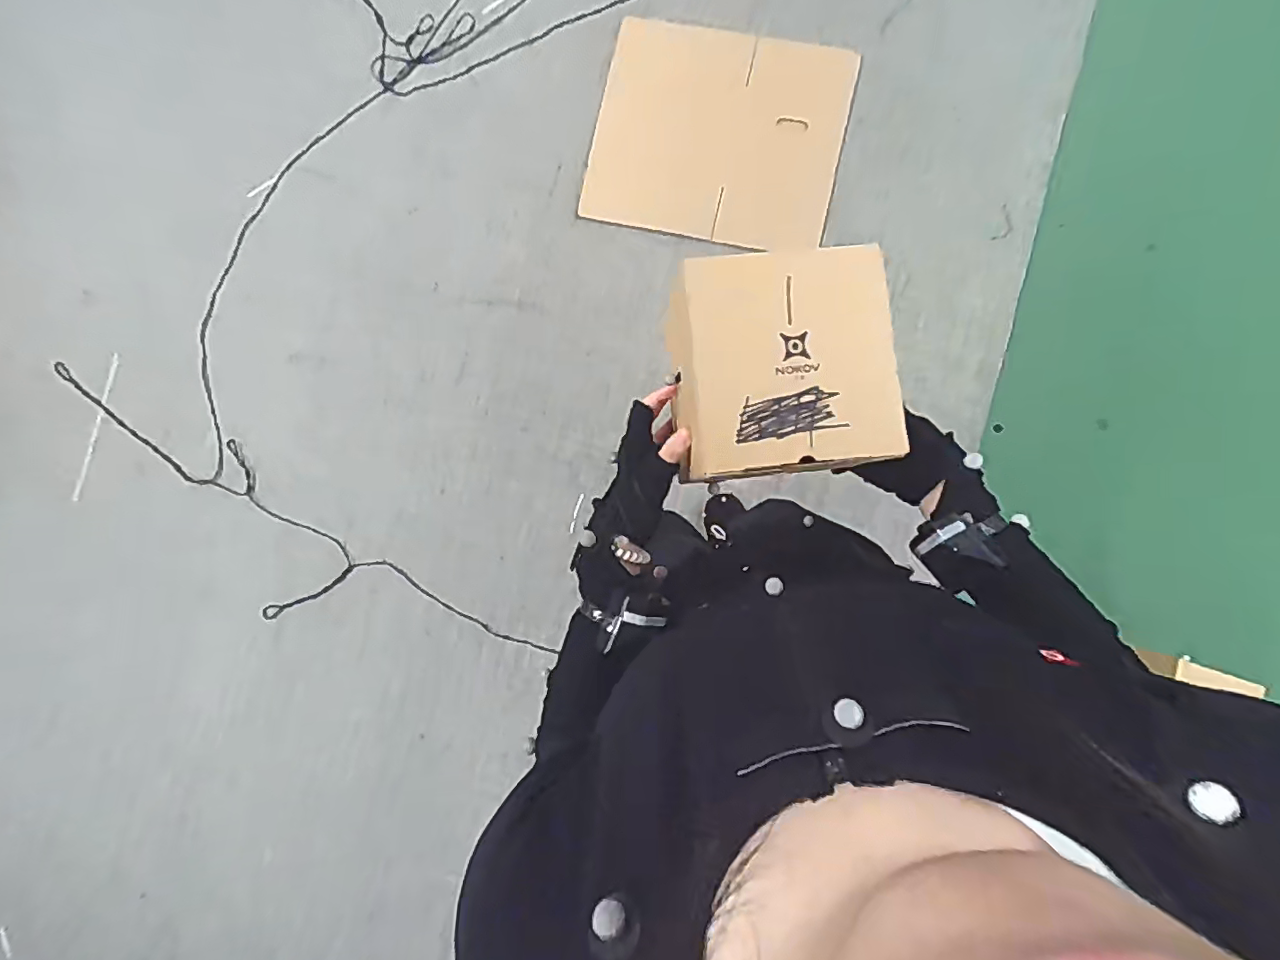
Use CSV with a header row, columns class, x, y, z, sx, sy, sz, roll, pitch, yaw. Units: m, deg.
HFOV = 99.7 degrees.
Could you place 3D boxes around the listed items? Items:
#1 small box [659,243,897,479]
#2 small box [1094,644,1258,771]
class,x,y,z,sx,sy,sz,roll,pitch,yaw
small box,0.113,-0.095,0.510,0.168,0.176,0.179,-6,87,-3
small box,1.123,0.469,1.149,0.168,0.176,0.179,18,88,6
